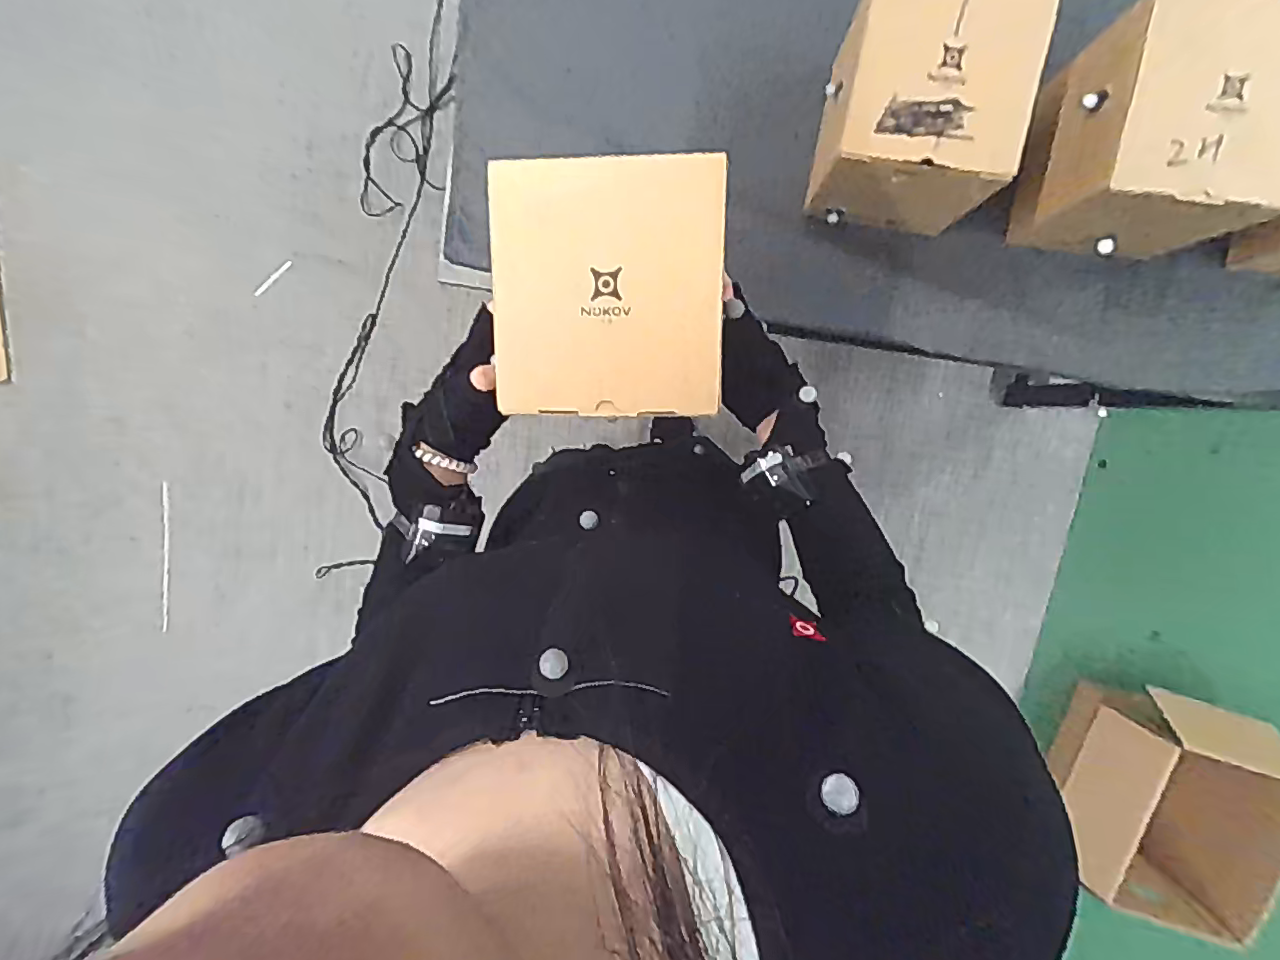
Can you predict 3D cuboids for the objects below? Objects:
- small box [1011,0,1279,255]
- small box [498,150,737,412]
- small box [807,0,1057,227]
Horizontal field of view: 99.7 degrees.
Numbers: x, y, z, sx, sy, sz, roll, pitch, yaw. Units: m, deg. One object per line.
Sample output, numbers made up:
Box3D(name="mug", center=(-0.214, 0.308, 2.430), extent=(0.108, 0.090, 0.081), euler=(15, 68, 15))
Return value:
Box3D(name="small box", center=(0.528, -0.355, 0.562), extent=(0.168, 0.176, 0.179), euler=(9, 98, 4))
Box3D(name="small box", center=(-0.012, -0.150, 0.457), extent=(0.168, 0.176, 0.179), euler=(1, 101, 4))
Box3D(name="small box", center=(0.289, -0.393, 0.578), extent=(0.168, 0.176, 0.179), euler=(10, 98, 3))
